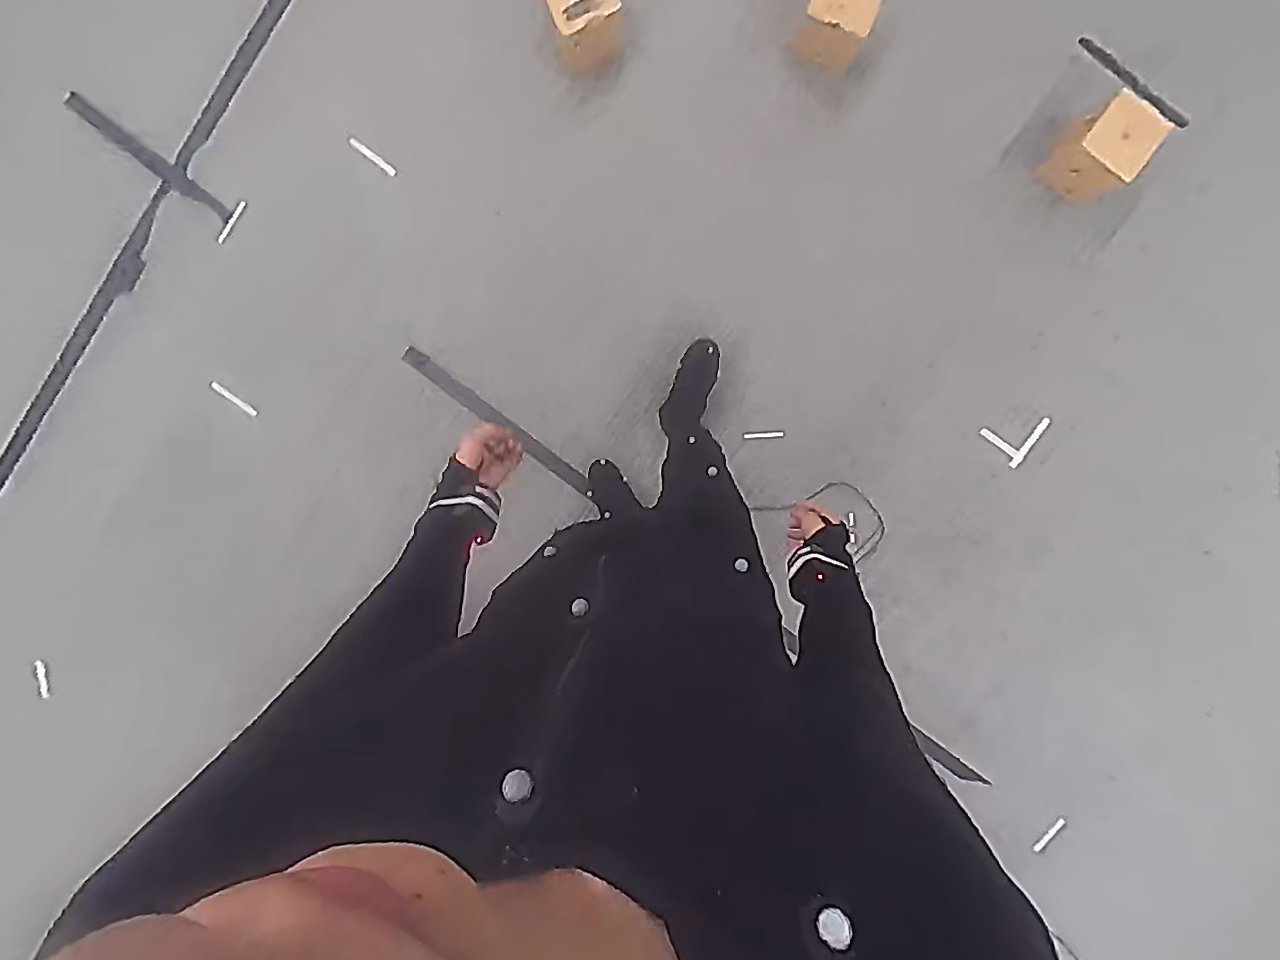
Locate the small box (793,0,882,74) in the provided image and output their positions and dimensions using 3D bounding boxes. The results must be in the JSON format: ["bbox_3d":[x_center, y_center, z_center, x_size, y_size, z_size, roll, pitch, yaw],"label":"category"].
[{"bbox_3d":[0.517,-1.215,1.398,0.168,0.176,0.179,22,96,-3],"label":"small box"}]

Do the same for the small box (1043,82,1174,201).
[{"bbox_3d":[1.230,-0.888,1.441,0.168,0.176,0.179,35,95,-4],"label":"small box"}]
